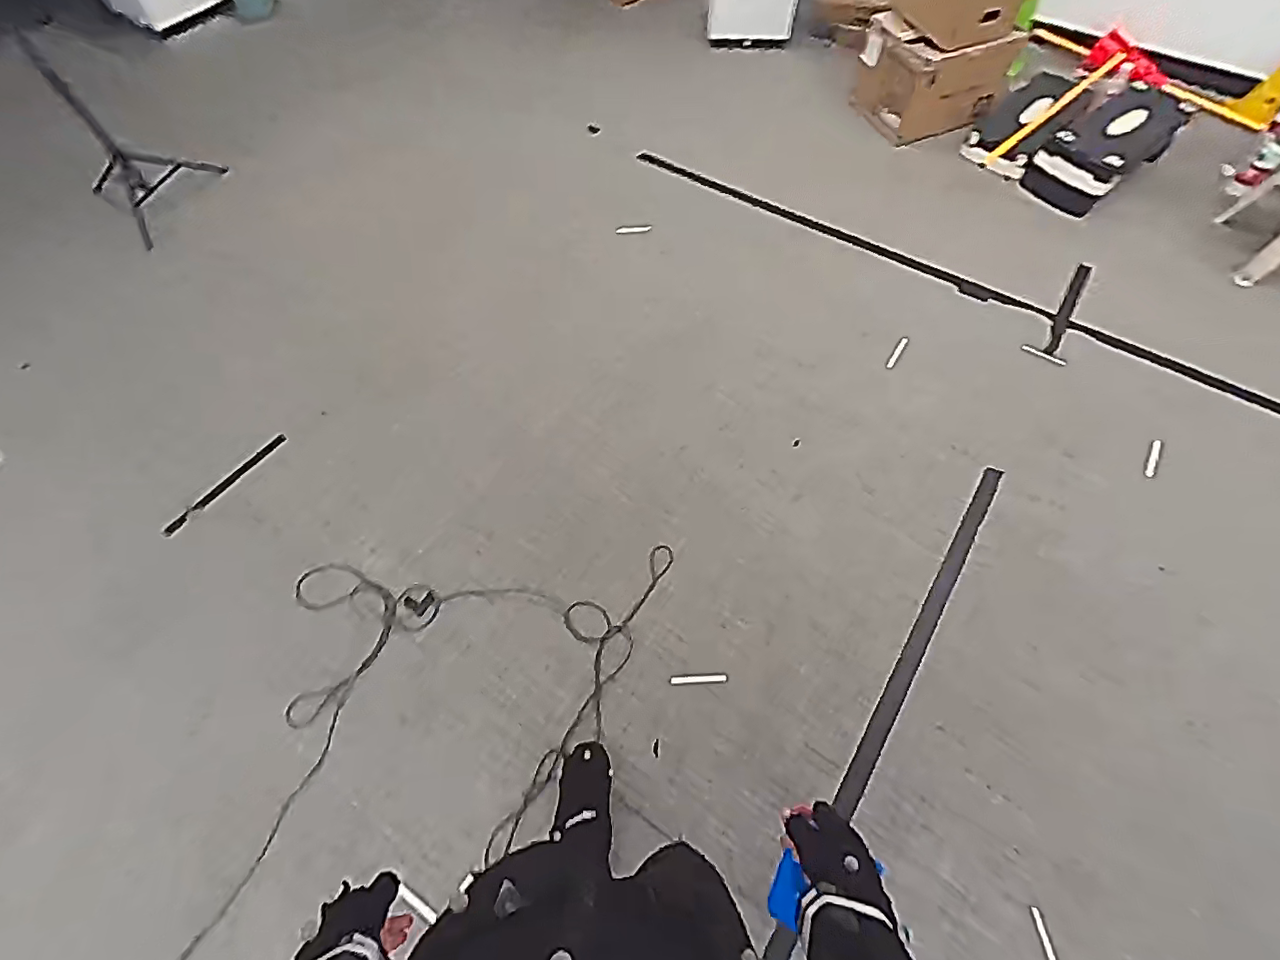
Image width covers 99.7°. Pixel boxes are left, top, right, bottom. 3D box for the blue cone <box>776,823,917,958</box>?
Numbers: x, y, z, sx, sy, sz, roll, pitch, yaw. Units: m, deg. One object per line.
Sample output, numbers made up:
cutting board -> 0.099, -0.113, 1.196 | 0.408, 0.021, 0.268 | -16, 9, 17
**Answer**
blue cone -> 0.399, 0.789, 1.001 | 0.192, 0.380, 0.193 | 28, 66, 13
